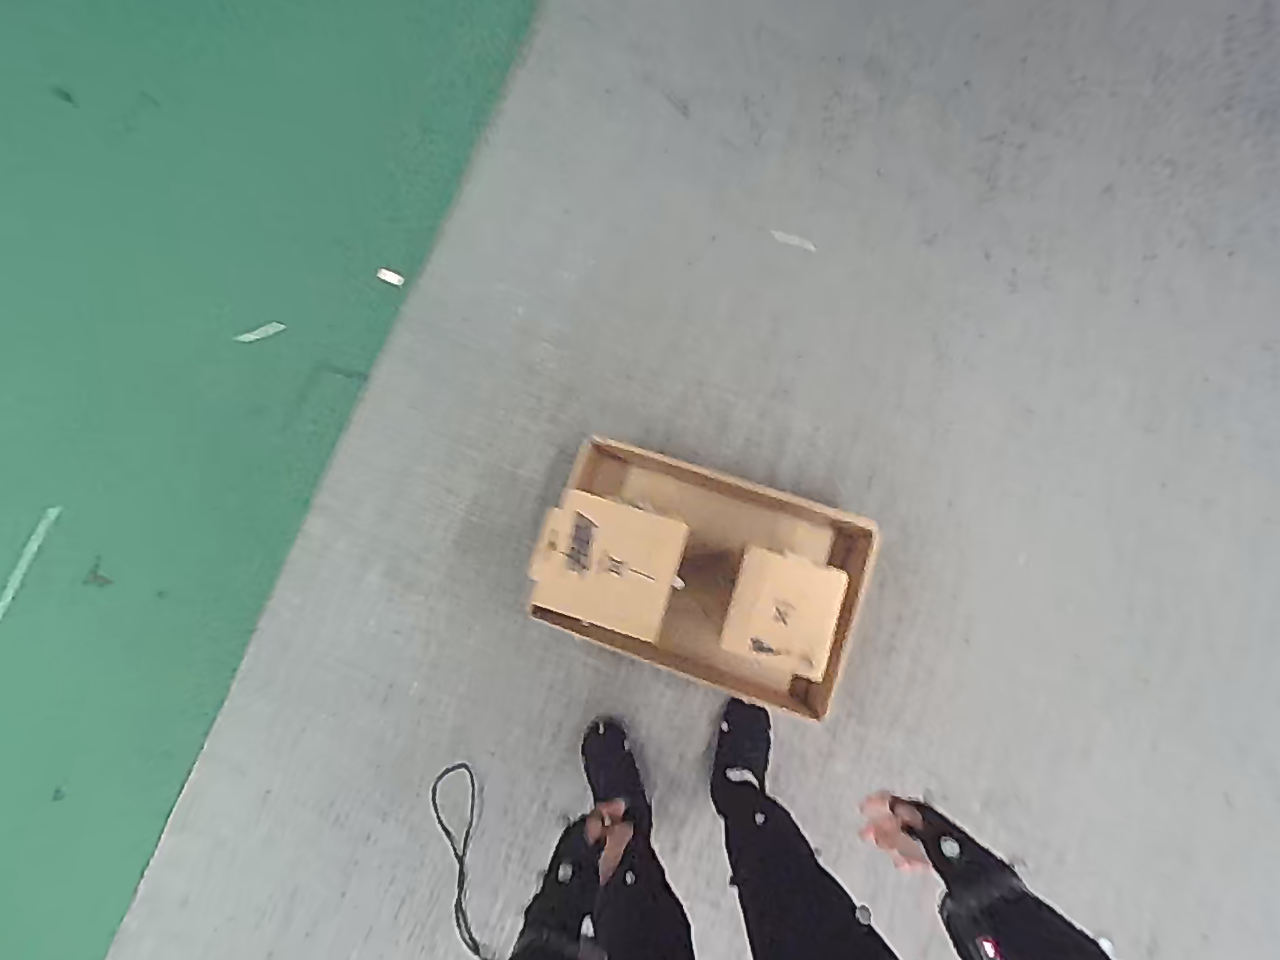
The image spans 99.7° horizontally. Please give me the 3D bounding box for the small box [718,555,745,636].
[{"bbox_3d":[0.266,0.252,1.101,0.179,0.176,0.168,17,84,9],"label":"small box"}]

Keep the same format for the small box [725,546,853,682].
[{"bbox_3d":[0.248,0.224,0.940,0.168,0.176,0.179,16,83,9],"label":"small box"}]

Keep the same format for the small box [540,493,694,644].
[{"bbox_3d":[-0.025,0.128,0.813,0.179,0.176,0.168,16,86,6],"label":"small box"}]
